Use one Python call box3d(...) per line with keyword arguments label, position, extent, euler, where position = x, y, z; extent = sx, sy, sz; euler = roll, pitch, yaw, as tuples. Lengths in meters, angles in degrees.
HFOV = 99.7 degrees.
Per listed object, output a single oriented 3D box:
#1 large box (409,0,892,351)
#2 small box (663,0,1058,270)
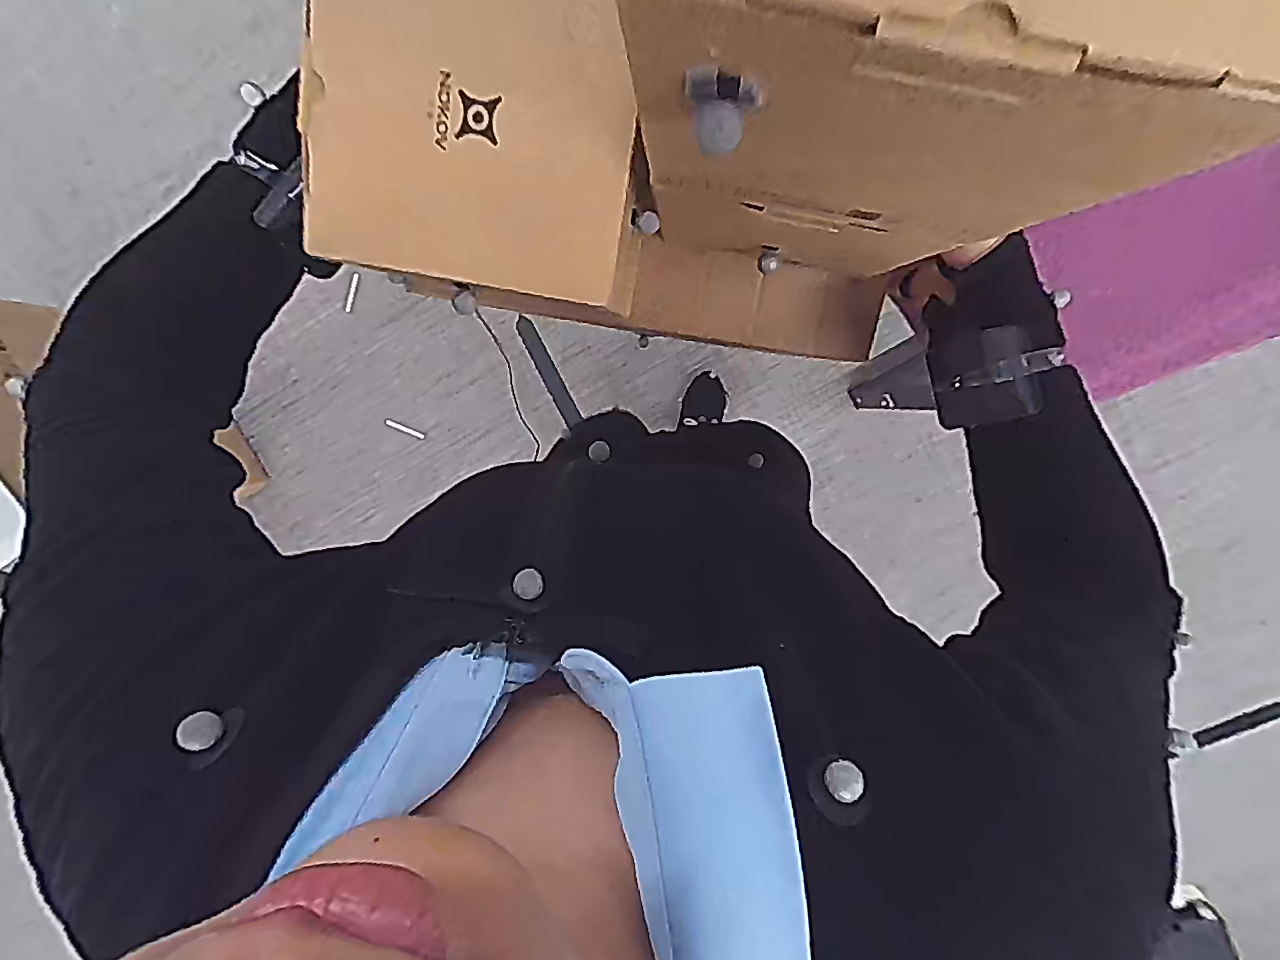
box3d(label="large box", position=(0.028, -0.314, 0.568), extent=(0.408, 0.320, 0.320), euler=(9, 102, 2))
box3d(label="small box", position=(0.112, -0.243, 0.324), extent=(0.168, 0.176, 0.179), euler=(12, 103, 2))
